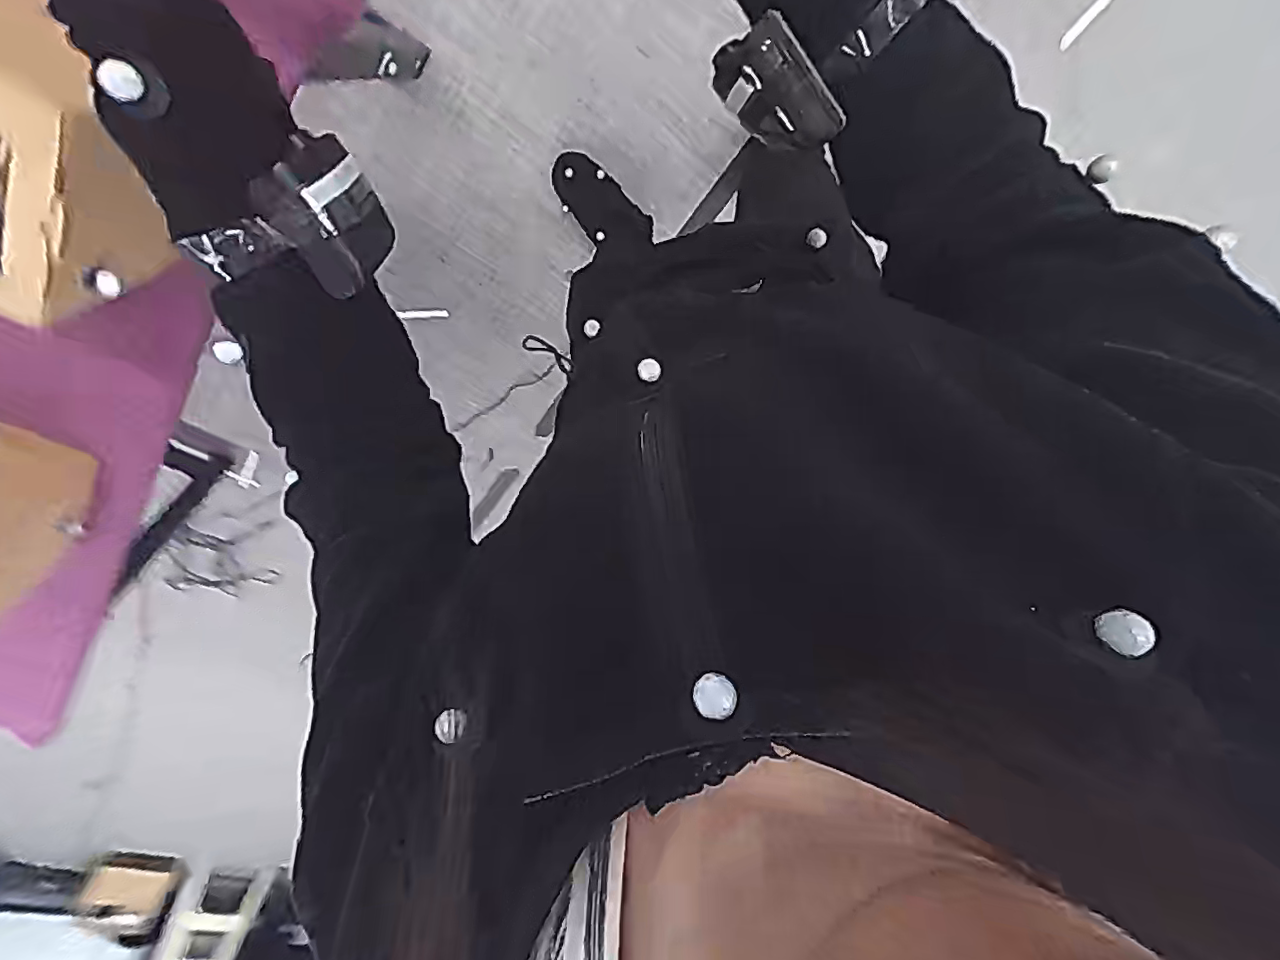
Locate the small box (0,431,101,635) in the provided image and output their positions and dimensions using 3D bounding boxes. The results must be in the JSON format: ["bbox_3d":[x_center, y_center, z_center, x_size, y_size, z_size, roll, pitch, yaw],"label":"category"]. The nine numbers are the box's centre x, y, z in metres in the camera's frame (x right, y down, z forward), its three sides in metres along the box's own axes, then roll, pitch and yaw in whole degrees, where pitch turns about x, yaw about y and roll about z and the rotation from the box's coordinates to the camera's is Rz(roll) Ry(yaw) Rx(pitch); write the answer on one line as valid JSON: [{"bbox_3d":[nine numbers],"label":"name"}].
[{"bbox_3d":[-0.739,0.053,0.579,0.168,0.176,0.179,30,118,-26],"label":"small box"}]
